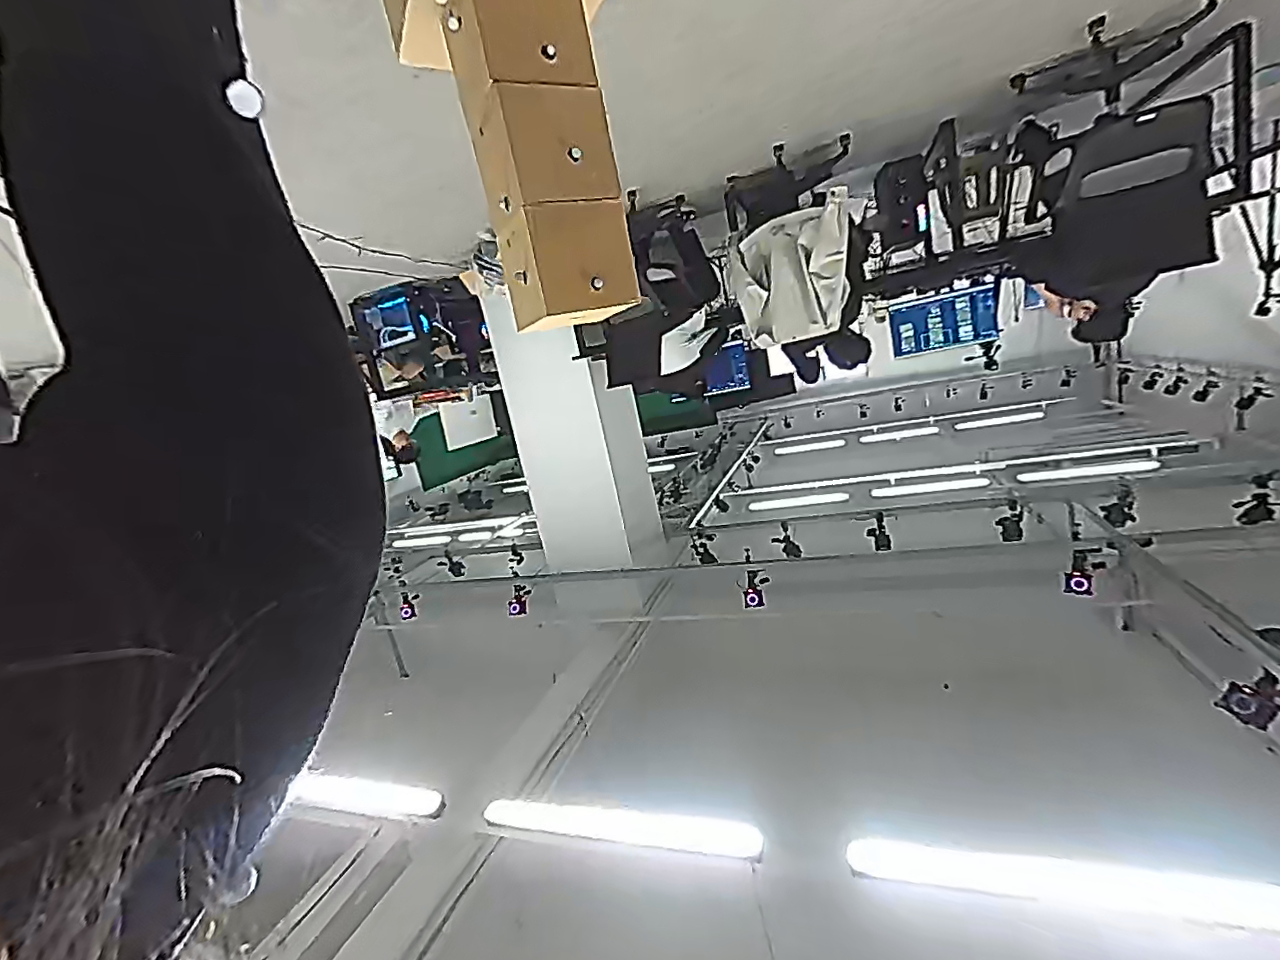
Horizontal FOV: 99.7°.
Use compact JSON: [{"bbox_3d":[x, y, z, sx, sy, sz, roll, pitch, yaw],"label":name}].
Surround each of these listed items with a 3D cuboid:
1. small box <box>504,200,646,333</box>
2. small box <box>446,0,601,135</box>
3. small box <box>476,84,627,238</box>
[{"bbox_3d":[-0.118,-0.363,0.927,0.179,0.176,0.168,-19,-167,-26],"label":"small box"},{"bbox_3d":[-0.187,-0.675,0.858,0.179,0.176,0.168,-18,-168,-26],"label":"small box"},{"bbox_3d":[-0.149,-0.519,0.892,0.179,0.176,0.168,-19,-167,-26],"label":"small box"}]
